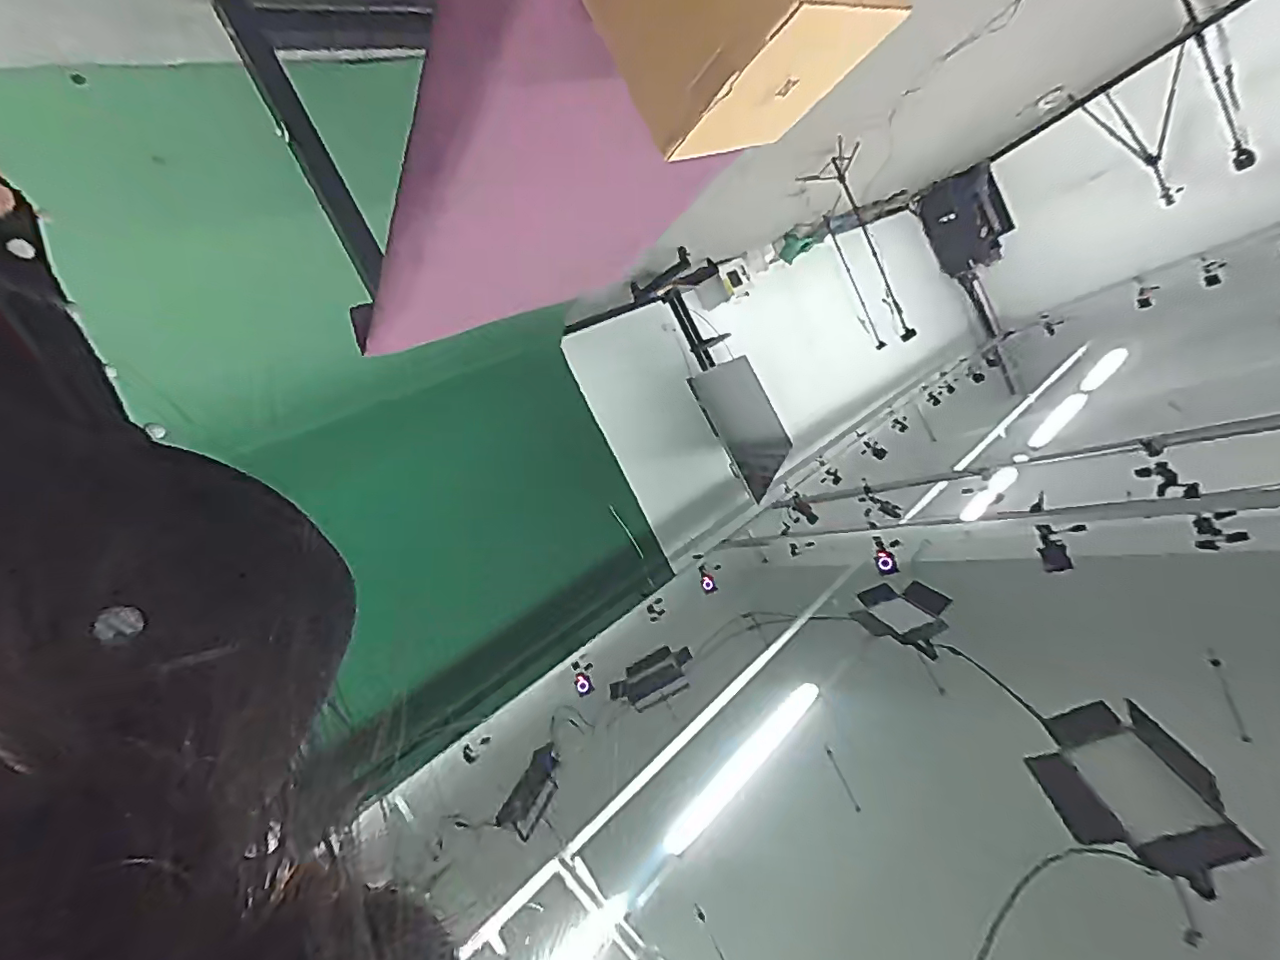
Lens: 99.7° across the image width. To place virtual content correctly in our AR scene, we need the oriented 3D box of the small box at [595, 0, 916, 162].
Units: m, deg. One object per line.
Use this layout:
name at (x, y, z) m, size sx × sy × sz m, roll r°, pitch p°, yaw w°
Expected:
small box at (0.090, -0.410, 0.456) m, size 0.179 × 0.176 × 0.168 m, roll -31°, pitch -173°, yaw -32°
